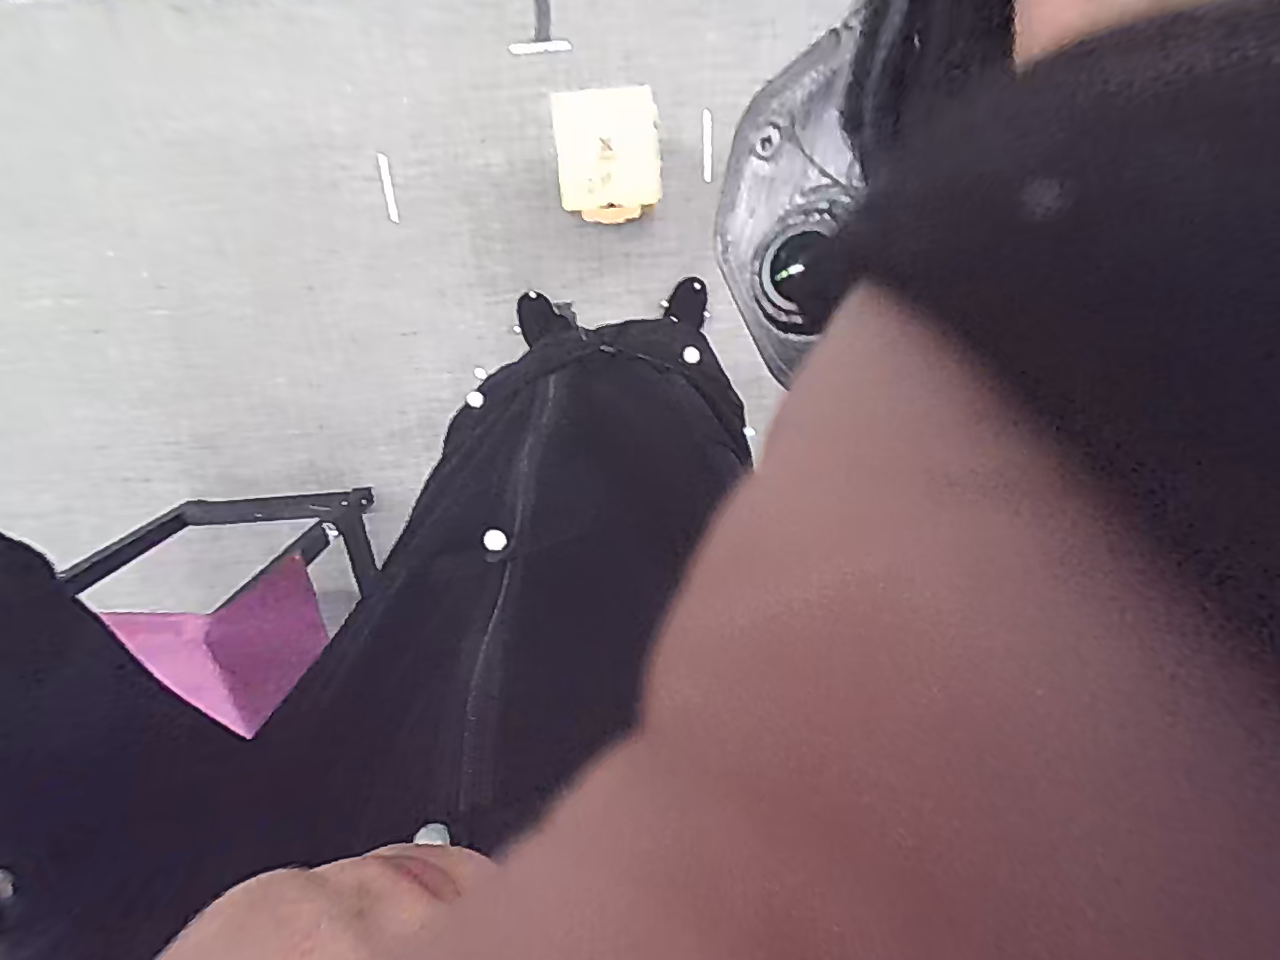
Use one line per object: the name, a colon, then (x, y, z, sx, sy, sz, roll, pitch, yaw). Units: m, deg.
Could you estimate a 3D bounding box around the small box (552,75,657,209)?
small box: (-0.061, -0.595, 0.971, 0.168, 0.176, 0.179, -5, 114, -1)
